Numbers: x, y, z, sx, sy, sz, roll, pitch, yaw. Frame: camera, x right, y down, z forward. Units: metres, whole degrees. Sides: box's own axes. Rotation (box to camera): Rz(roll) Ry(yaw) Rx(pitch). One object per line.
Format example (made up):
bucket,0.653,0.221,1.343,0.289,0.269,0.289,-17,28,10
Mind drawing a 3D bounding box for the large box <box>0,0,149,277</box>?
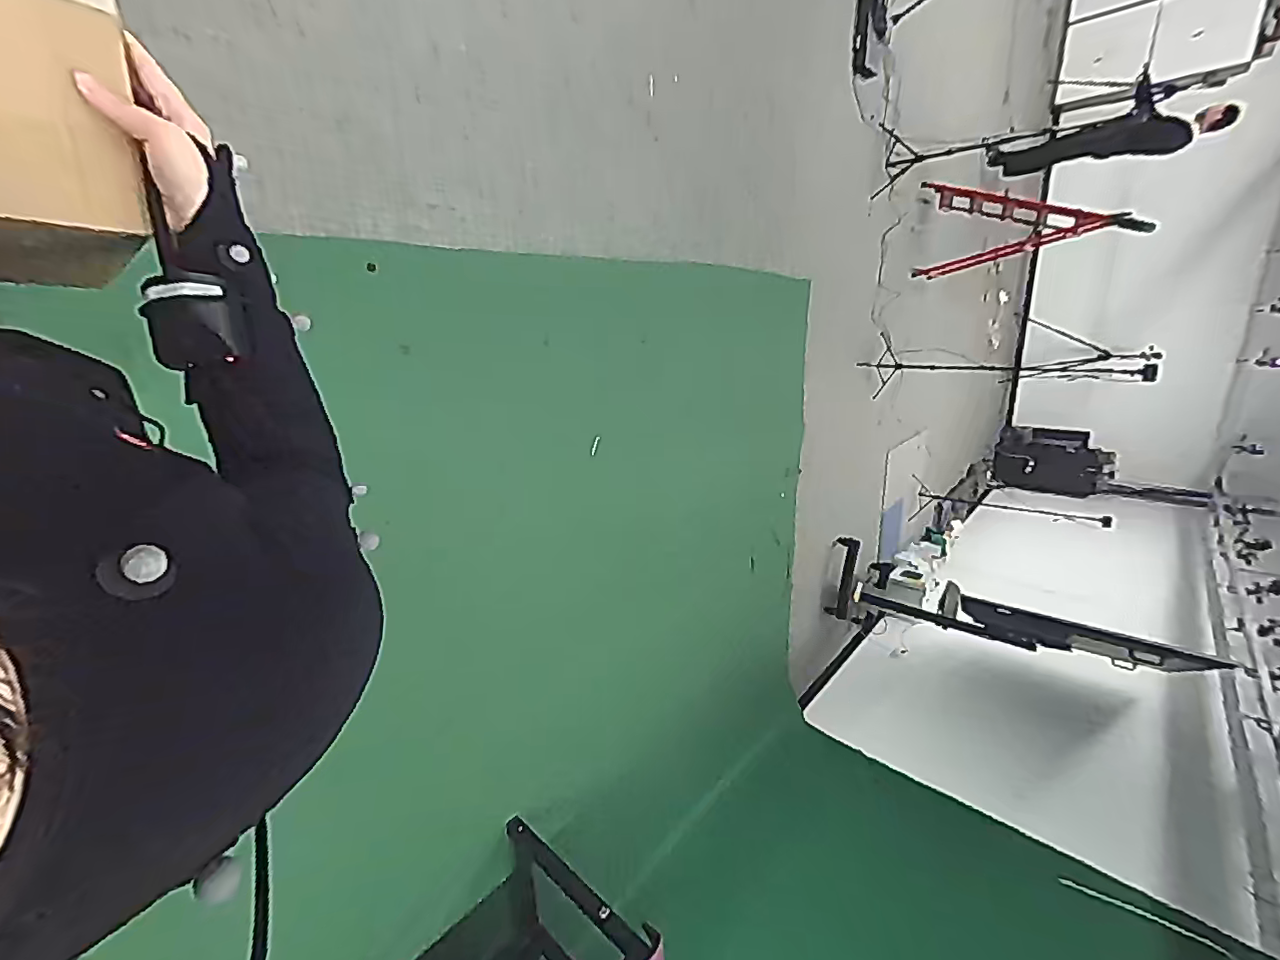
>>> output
large box,-0.625,-0.324,0.333,0.408,0.320,0.320,-15,108,-49
